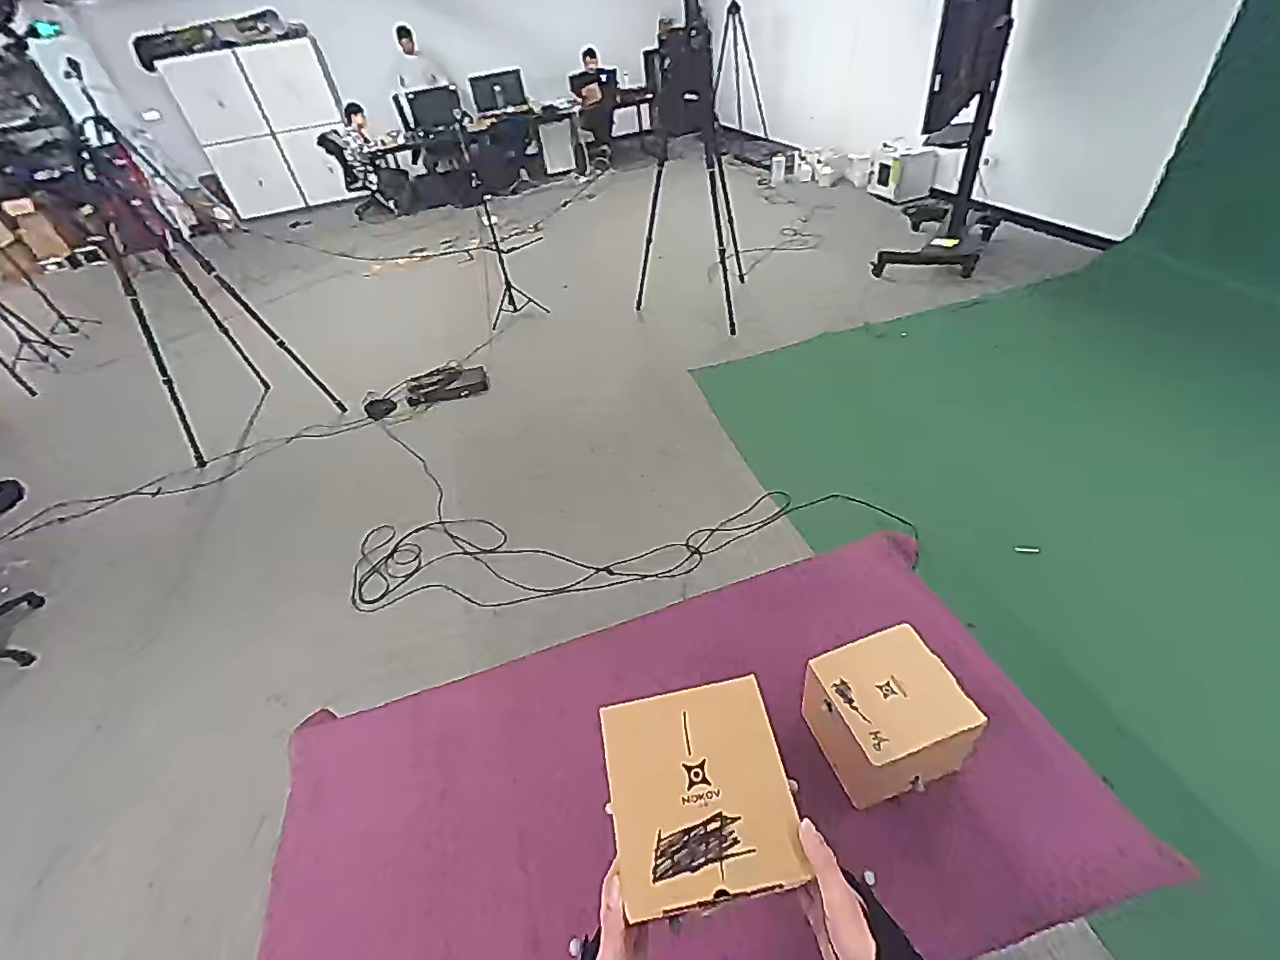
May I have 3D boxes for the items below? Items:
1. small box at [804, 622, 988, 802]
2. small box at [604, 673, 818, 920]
[{"bbox_3d":[0.368,0.350,0.817,0.179,0.176,0.168,-17,42,-8],"label":"small box"},{"bbox_3d":[0.064,0.326,0.557,0.168,0.176,0.179,-11,51,-2],"label":"small box"}]
